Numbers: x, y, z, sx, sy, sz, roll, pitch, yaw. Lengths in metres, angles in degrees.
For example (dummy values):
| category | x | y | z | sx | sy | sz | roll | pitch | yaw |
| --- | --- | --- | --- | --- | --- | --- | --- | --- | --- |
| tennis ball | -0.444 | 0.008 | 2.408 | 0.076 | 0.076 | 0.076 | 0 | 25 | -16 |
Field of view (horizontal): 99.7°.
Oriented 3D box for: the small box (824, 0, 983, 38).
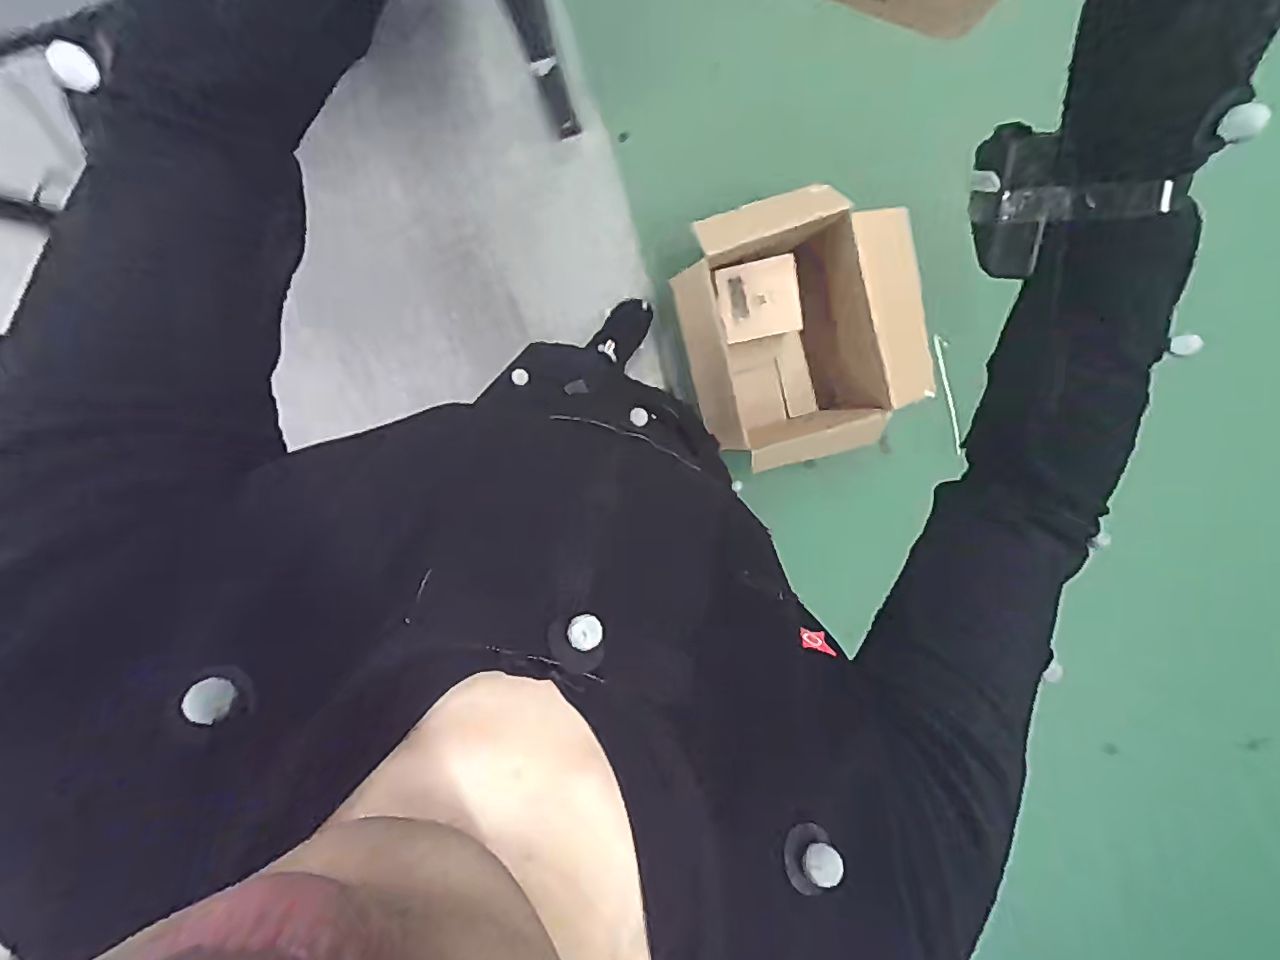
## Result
| category | x | y | z | sx | sy | sz | roll | pitch | yaw |
| --- | --- | --- | --- | --- | --- | --- | --- | --- | --- |
| small box | 0.141 | -0.359 | 0.243 | 0.168 | 0.176 | 0.179 | 19 | 109 | -1 |
